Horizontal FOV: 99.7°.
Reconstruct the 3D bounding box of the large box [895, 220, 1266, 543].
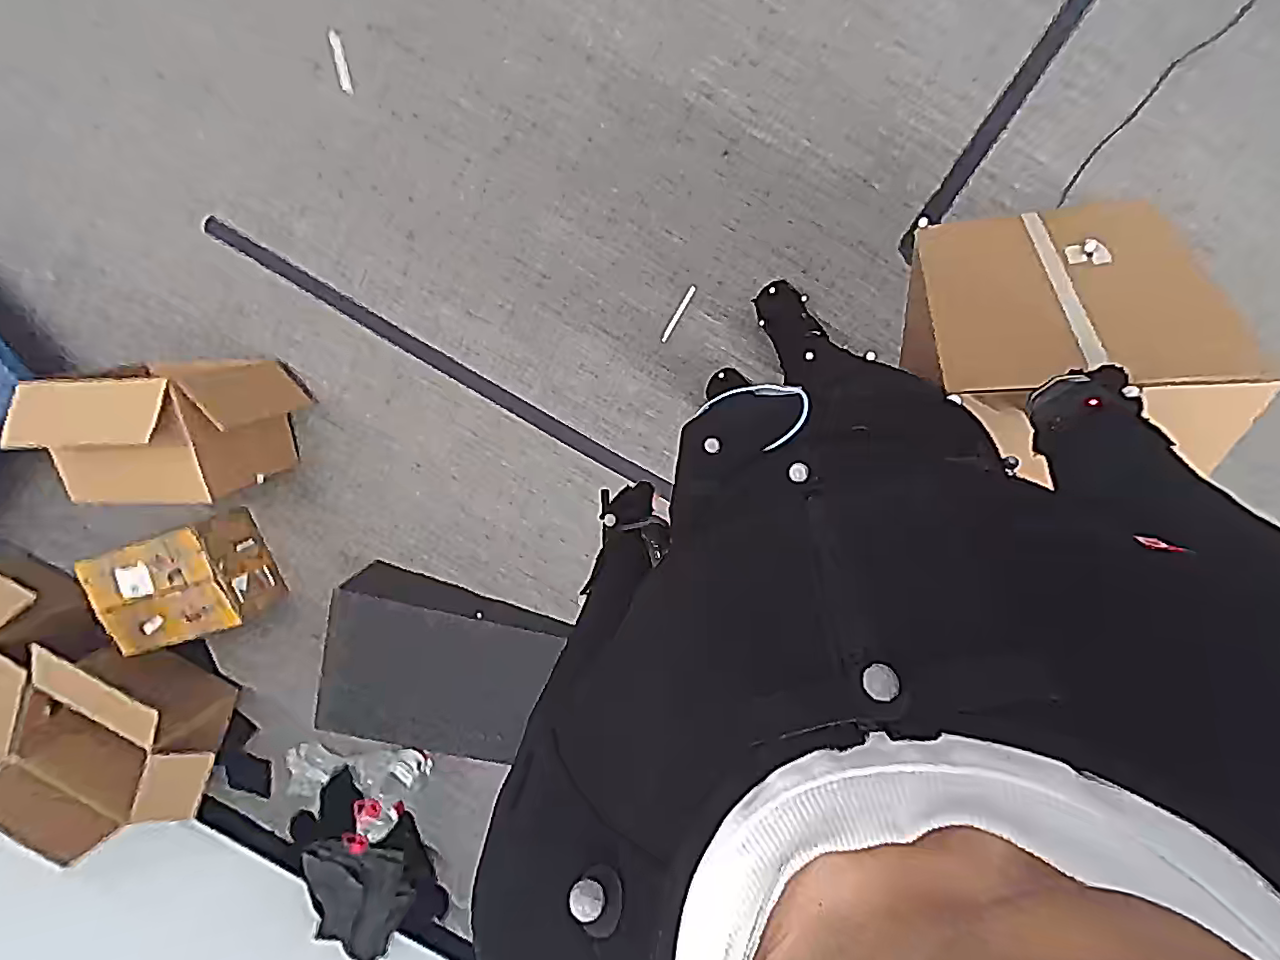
[{"bbox_3d":[0.598,-0.149,0.849,0.320,0.408,0.320,2,140,17],"label":"large box"}]
